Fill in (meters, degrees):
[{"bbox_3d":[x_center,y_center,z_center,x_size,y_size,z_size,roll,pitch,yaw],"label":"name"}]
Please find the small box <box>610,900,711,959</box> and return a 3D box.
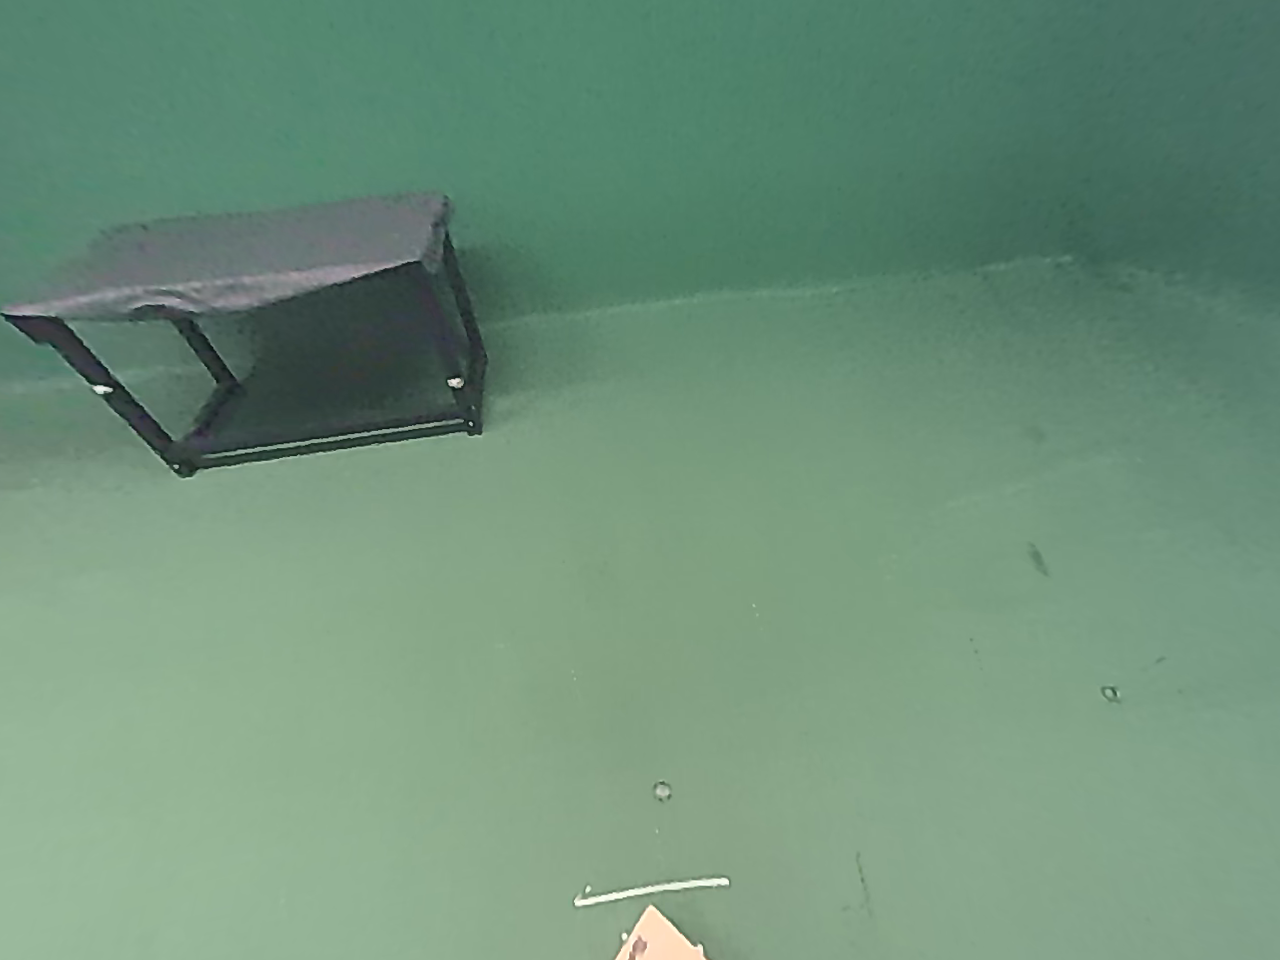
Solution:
[{"bbox_3d":[0.038,0.879,0.934,0.179,0.176,0.168,28,54,29],"label":"small box"}]
